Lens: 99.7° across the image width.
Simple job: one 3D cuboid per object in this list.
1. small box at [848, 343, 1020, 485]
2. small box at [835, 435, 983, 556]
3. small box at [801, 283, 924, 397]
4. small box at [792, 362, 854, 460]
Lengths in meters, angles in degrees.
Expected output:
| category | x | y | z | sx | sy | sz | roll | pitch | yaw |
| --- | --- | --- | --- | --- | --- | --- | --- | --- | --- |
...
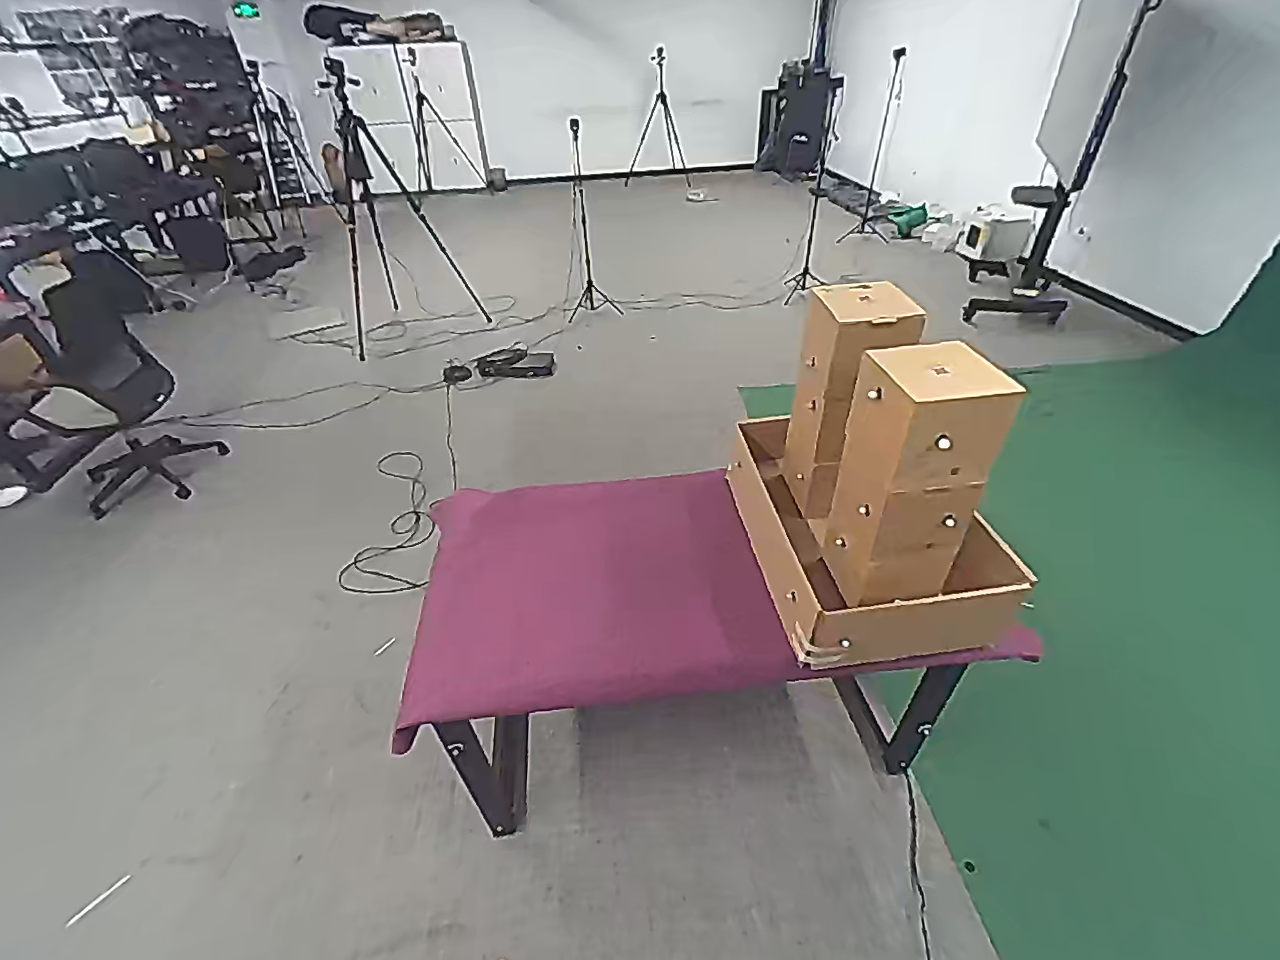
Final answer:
| category | x | y | z | sx | sy | sz | roll | pitch | yaw |
| --- | --- | --- | --- | --- | --- | --- | --- | --- | --- |
| small box | 0.462 | -0.104 | 0.883 | 0.168 | 0.176 | 0.179 | -6 | 37 | -2 |
| small box | 0.472 | 0.024 | 0.981 | 0.168 | 0.176 | 0.179 | -6 | 37 | -2 |
| small box | 0.439 | -0.280 | 1.099 | 0.168 | 0.176 | 0.179 | -5 | 41 | -1 |
| small box | 0.449 | -0.156 | 1.205 | 0.168 | 0.176 | 0.179 | -4 | 40 | -1 |
